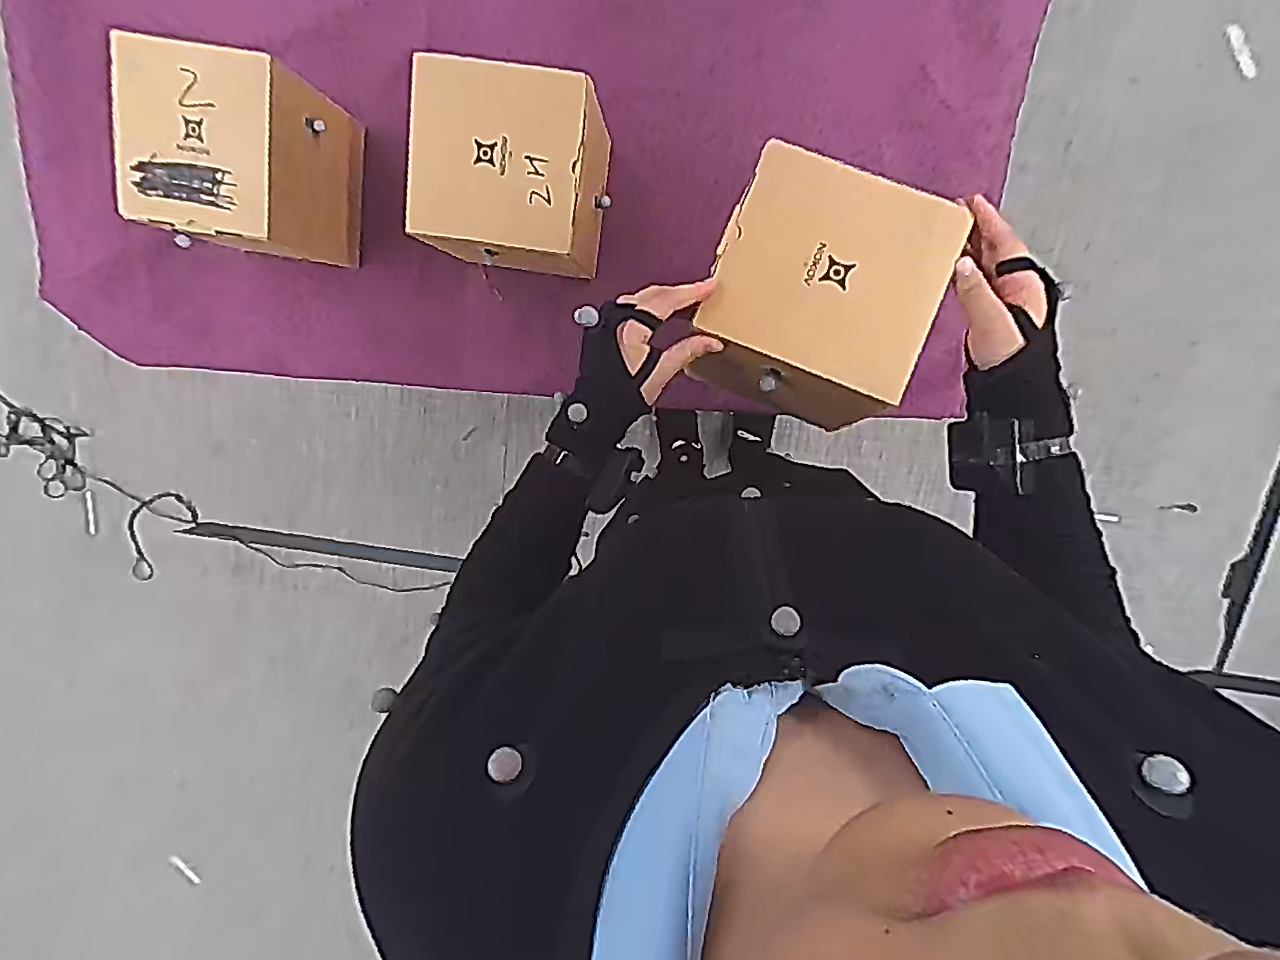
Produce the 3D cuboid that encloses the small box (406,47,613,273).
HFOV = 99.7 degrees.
[{"bbox_3d":[-0.135,-0.339,0.608,0.179,0.176,0.168,9,103,1],"label":"small box"}]
